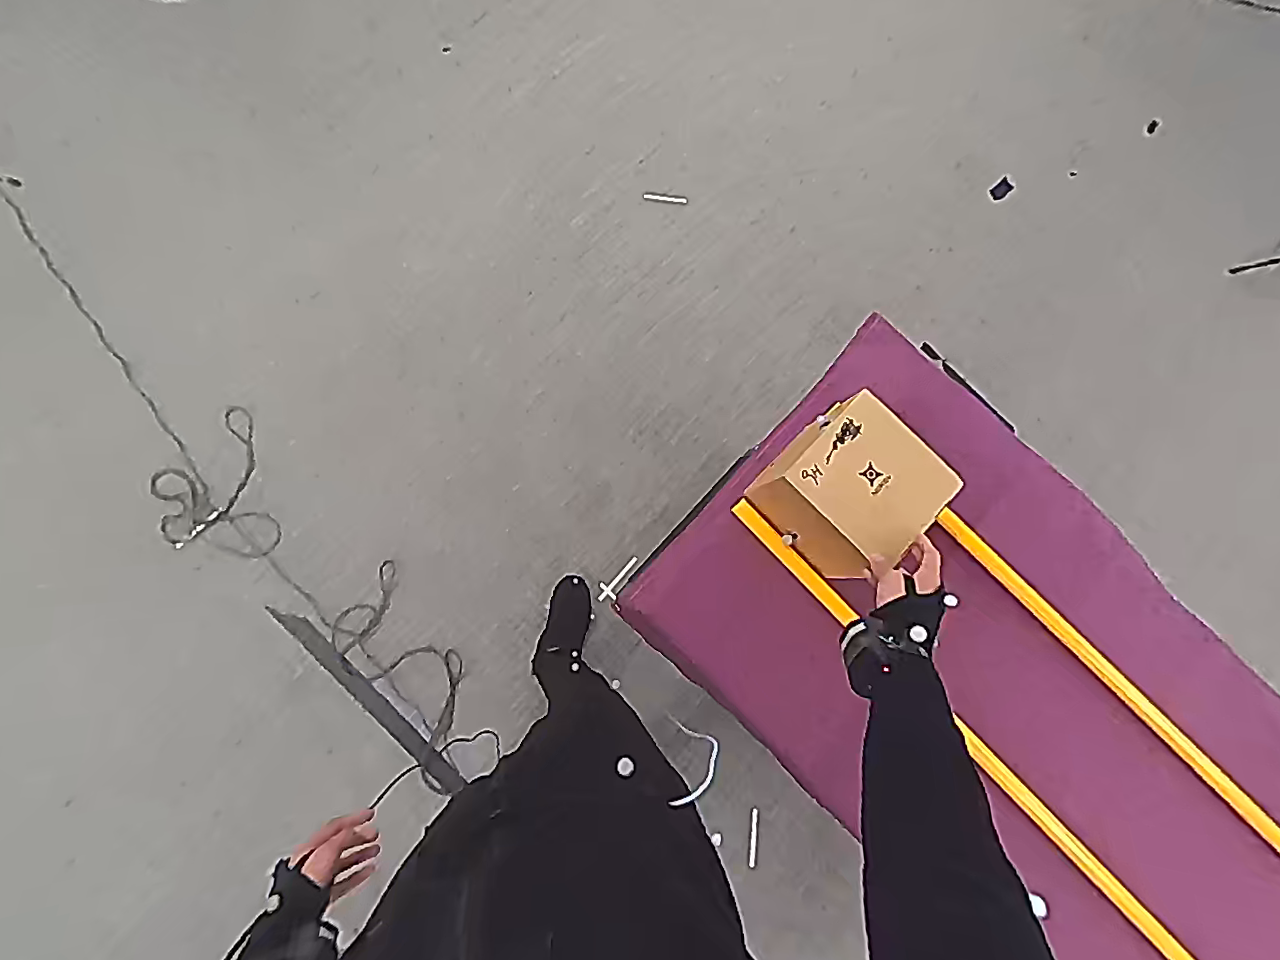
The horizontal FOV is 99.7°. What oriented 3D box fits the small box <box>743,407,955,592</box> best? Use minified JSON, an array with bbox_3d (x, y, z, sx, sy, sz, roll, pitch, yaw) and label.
[{"bbox_3d":[0.275,0.032,0.749,0.168,0.176,0.179,-44,88,-12],"label":"small box"}]
